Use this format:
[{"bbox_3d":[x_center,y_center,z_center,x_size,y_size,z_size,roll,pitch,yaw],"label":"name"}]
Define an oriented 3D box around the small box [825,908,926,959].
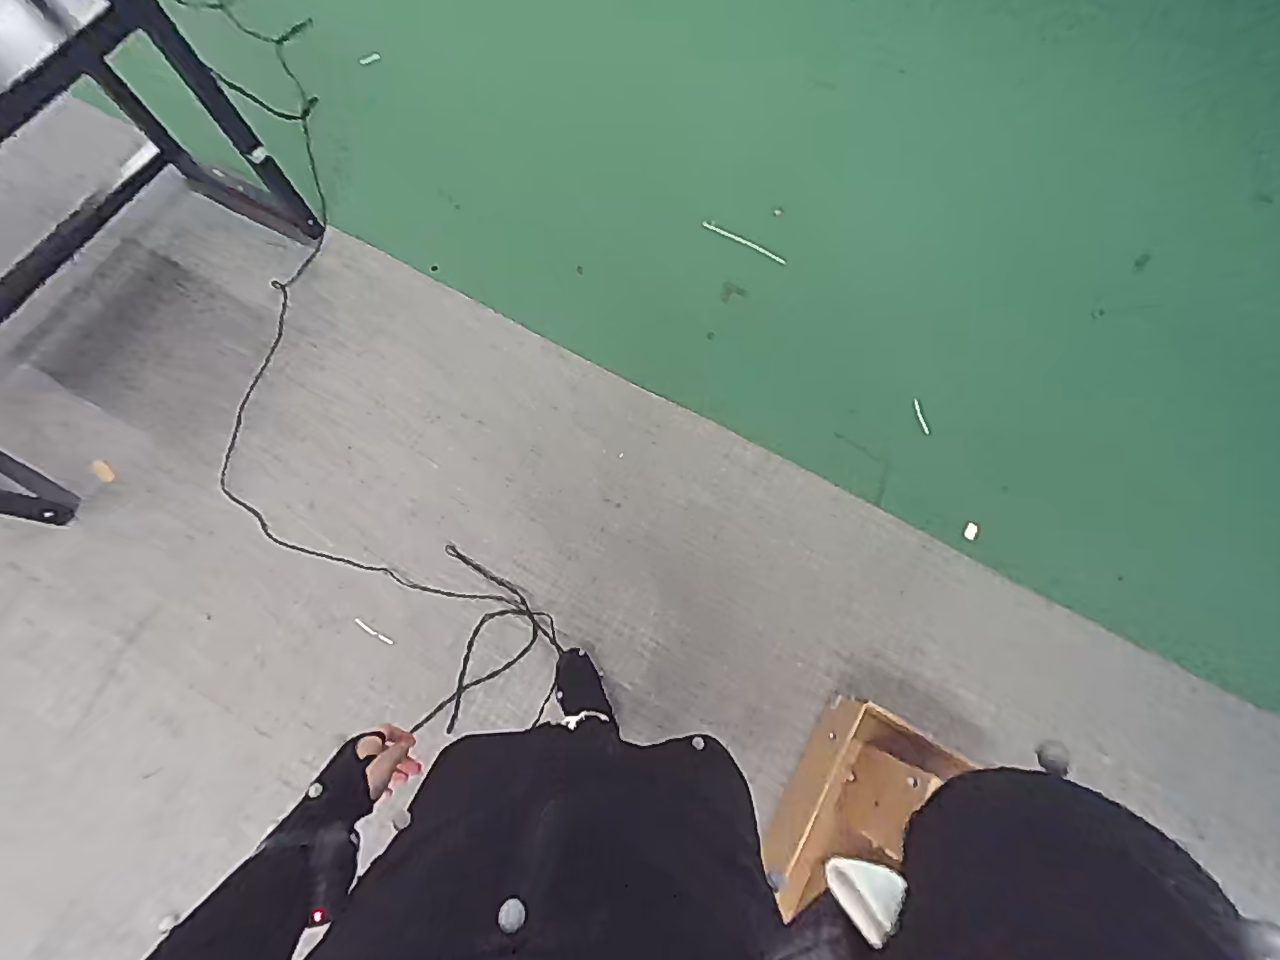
[{"bbox_3d":[0.448,0.947,0.993,0.168,0.176,0.179,28,74,9],"label":"small box"}]
